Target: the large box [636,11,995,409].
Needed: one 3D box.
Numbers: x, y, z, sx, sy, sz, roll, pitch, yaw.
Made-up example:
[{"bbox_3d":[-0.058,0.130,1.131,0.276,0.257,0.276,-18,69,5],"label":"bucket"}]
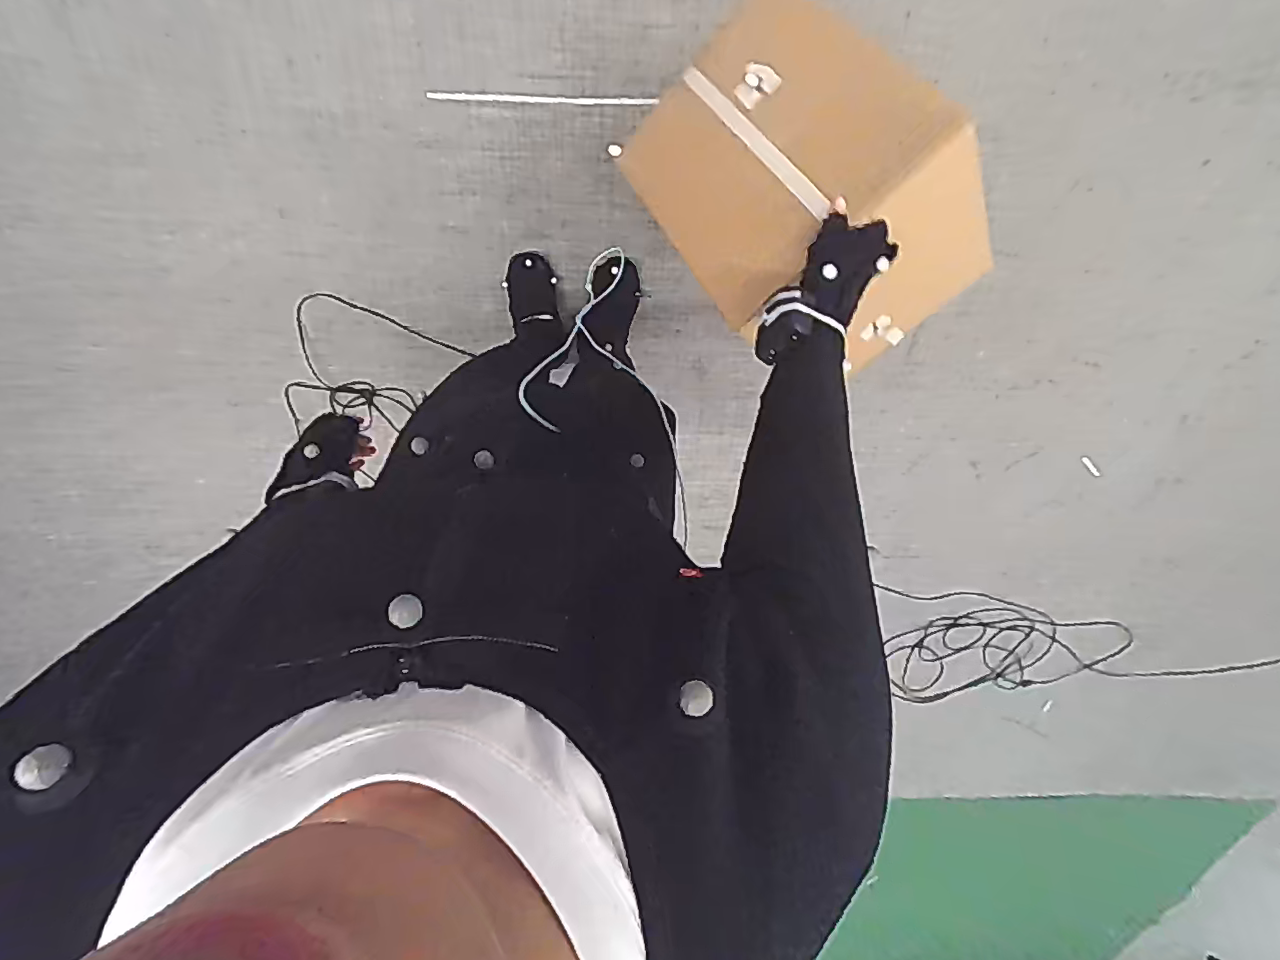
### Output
[{"bbox_3d":[0.262,-0.386,0.838,0.320,0.408,0.320,-37,149,22],"label":"large box"}]
